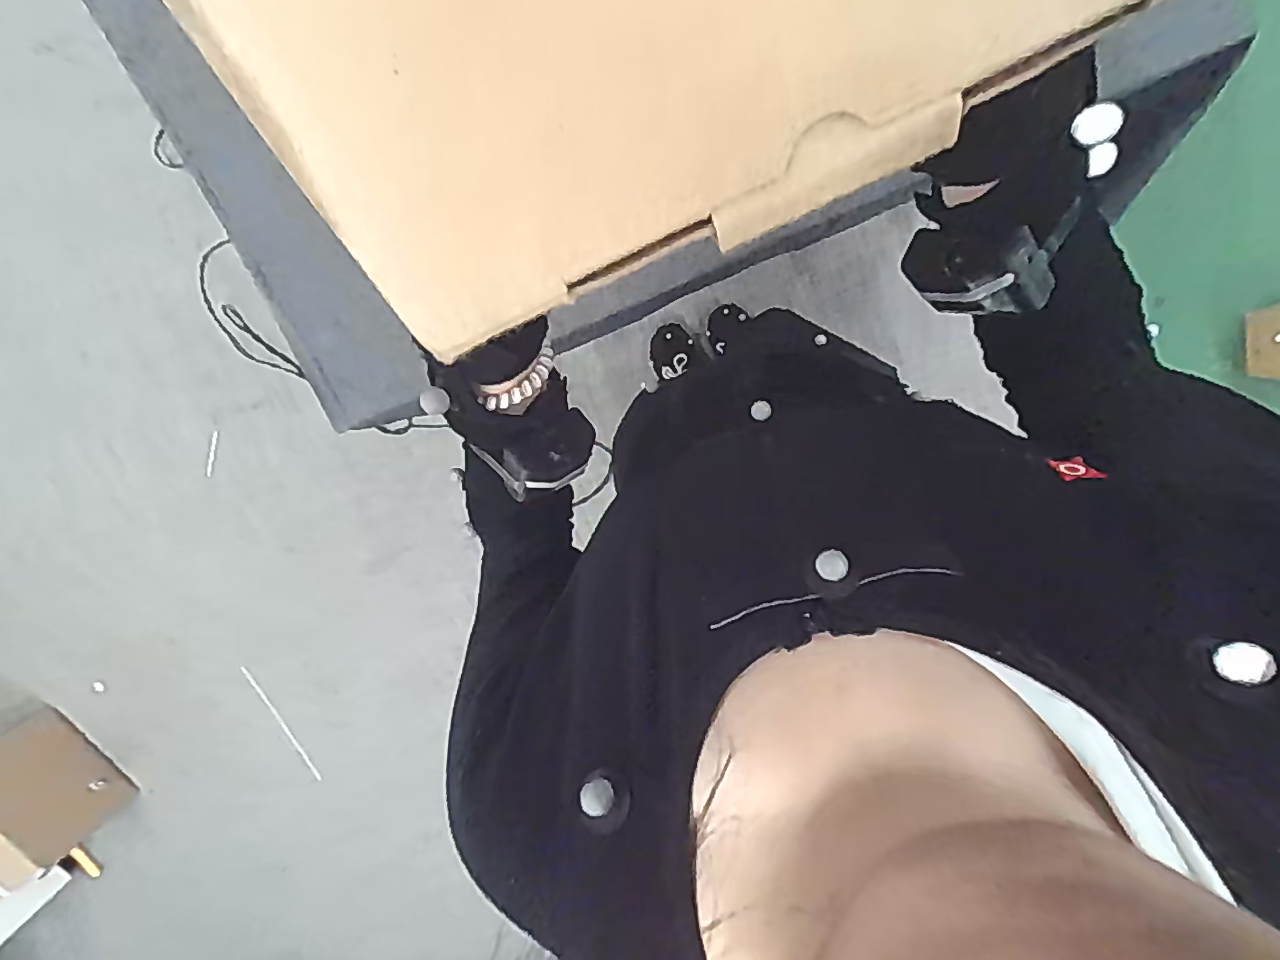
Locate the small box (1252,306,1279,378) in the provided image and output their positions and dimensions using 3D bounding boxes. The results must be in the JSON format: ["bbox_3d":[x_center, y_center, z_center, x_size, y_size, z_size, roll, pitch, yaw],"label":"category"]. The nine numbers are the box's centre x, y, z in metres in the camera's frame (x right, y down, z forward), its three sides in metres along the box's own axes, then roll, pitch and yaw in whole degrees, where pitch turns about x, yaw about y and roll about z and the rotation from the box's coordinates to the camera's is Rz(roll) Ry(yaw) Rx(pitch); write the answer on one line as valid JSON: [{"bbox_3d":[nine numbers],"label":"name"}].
[{"bbox_3d":[1.606,-0.337,1.268,0.179,0.176,0.168,-16,103,6],"label":"small box"}]

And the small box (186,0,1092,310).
[{"bbox_3d":[-0.012,-0.170,0.116,0.168,0.176,0.179,-23,122,8],"label":"small box"}]
